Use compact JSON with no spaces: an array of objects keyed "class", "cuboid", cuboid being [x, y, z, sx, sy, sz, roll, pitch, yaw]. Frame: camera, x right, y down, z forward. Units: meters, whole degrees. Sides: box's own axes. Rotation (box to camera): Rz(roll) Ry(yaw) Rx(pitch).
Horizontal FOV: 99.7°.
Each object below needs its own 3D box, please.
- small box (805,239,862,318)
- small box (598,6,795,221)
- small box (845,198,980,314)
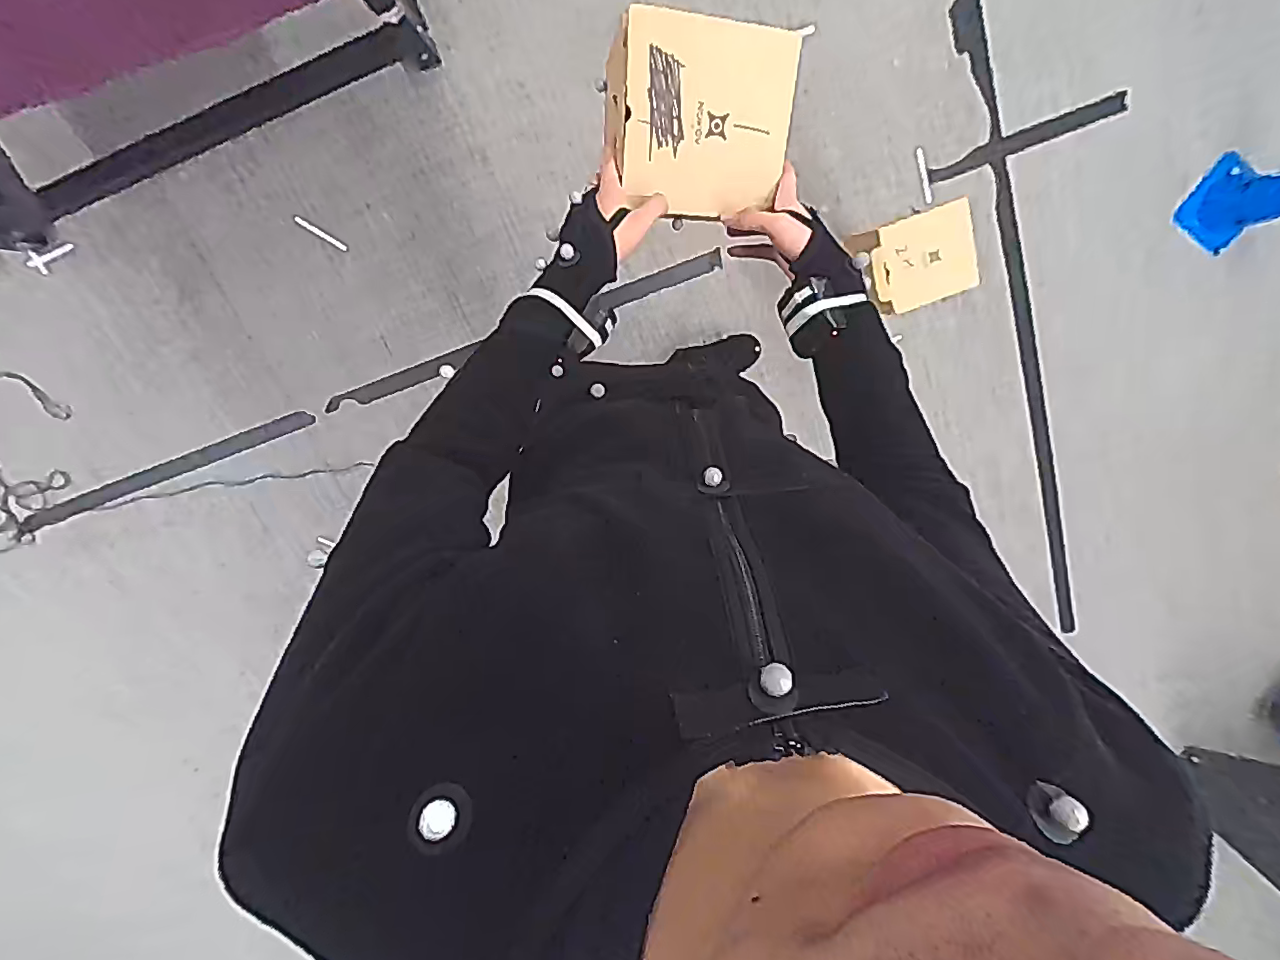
[{"class":"small box","cuboid":[0.550,-0.536,1.418,0.179,0.176,0.168,-24,108,5]},{"class":"small box","cuboid":[0.046,-0.384,0.600,0.179,0.176,0.168,-1,115,-10]},{"class":"small box","cuboid":[0.547,-0.450,1.098,0.179,0.176,0.168,-19,109,4]}]
